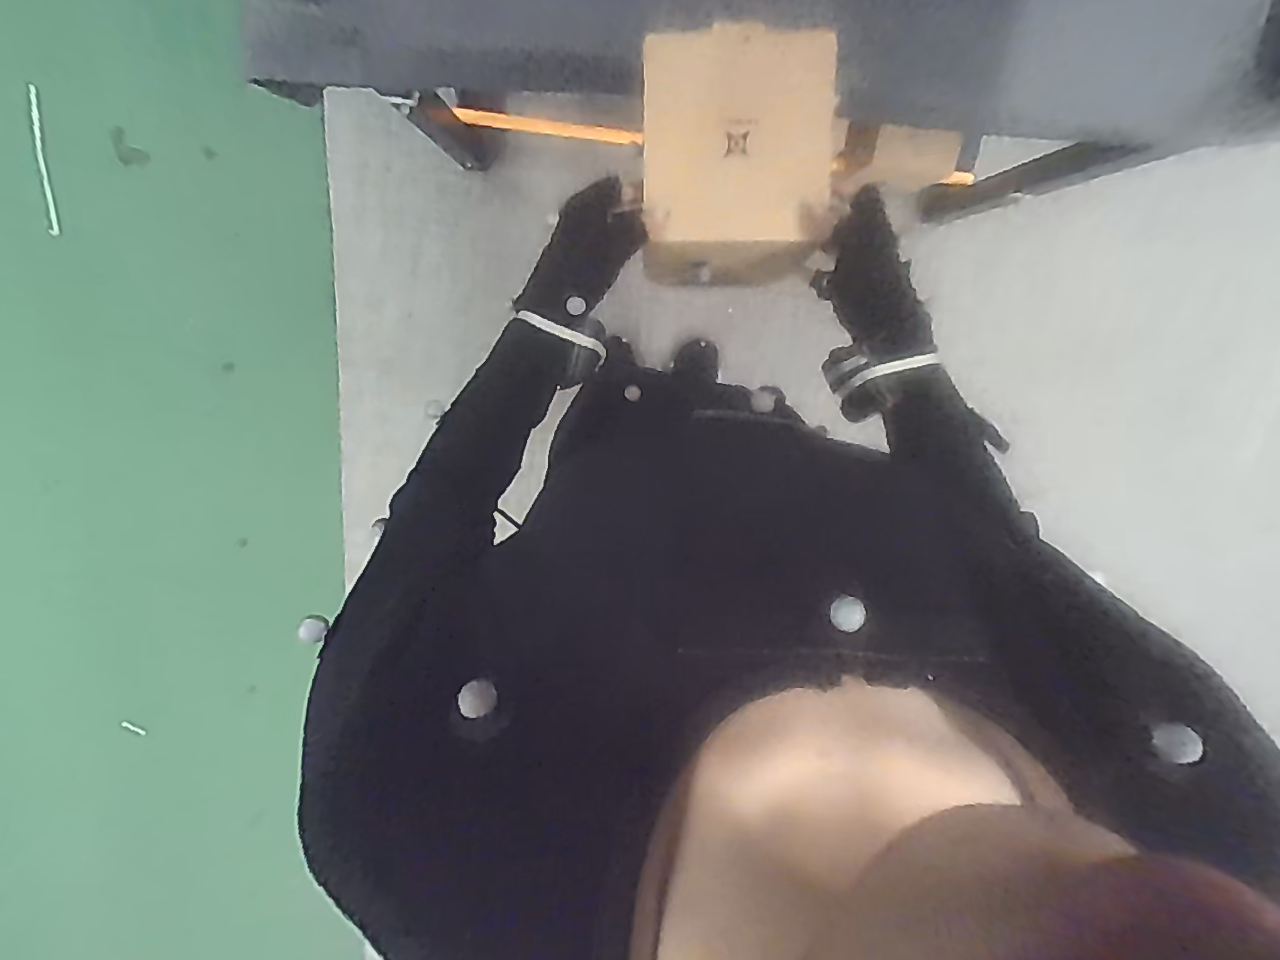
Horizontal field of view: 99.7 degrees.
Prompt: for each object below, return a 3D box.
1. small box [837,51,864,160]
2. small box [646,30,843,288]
[{"bbox_3d":[0.326,-0.736,1.095,0.168,0.176,0.179,5,107,-3],"label":"small box"},{"bbox_3d":[0.092,-0.299,0.545,0.168,0.176,0.179,0,95,2],"label":"small box"}]
